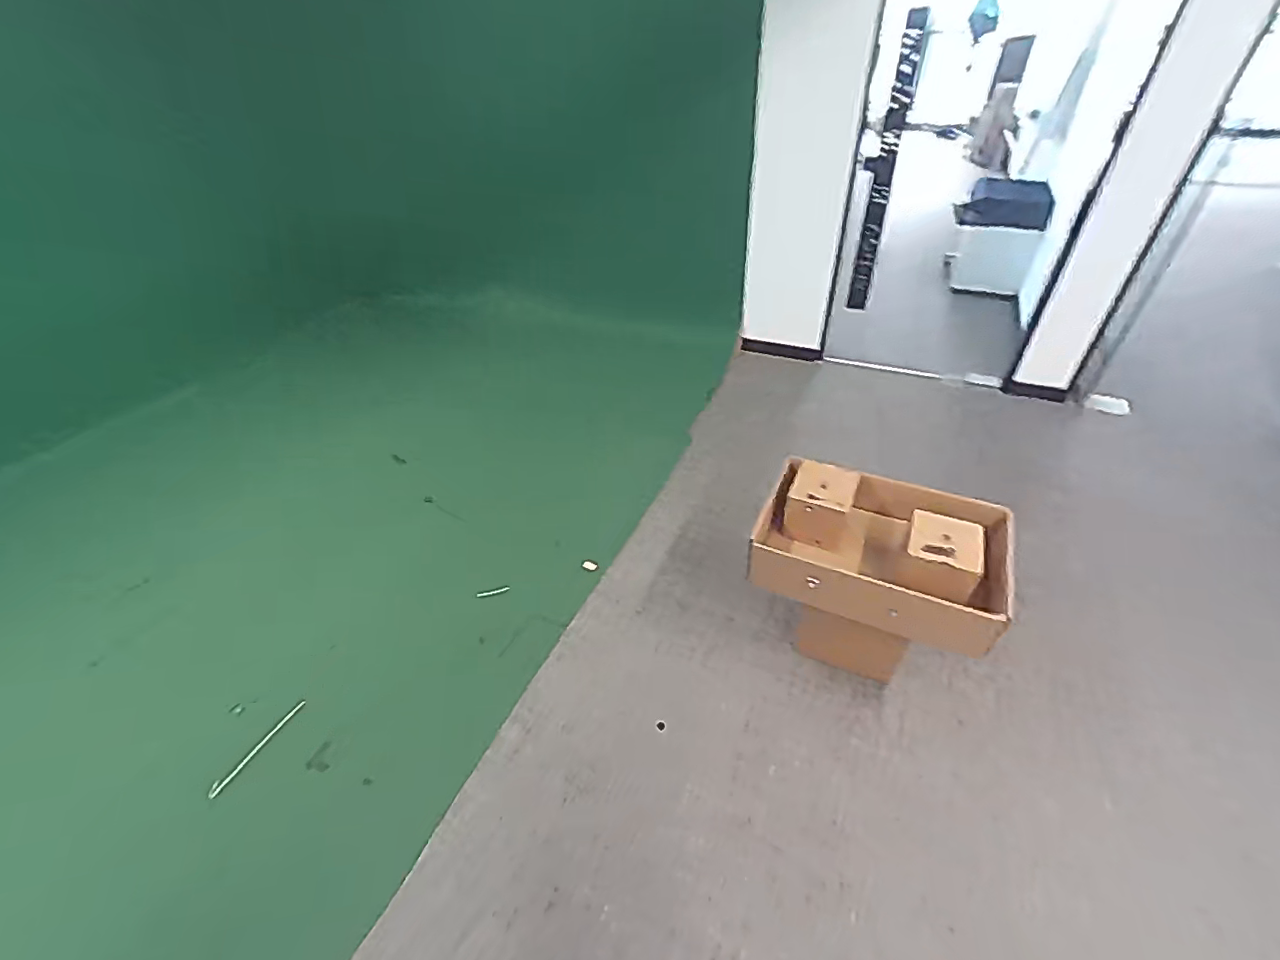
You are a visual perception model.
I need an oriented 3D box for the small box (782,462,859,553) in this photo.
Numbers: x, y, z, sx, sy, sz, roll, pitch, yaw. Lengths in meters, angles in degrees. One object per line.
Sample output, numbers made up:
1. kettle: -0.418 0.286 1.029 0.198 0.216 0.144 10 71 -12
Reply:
1. small box: 0.527 0.080 1.591 0.168 0.176 0.179 17 46 22
